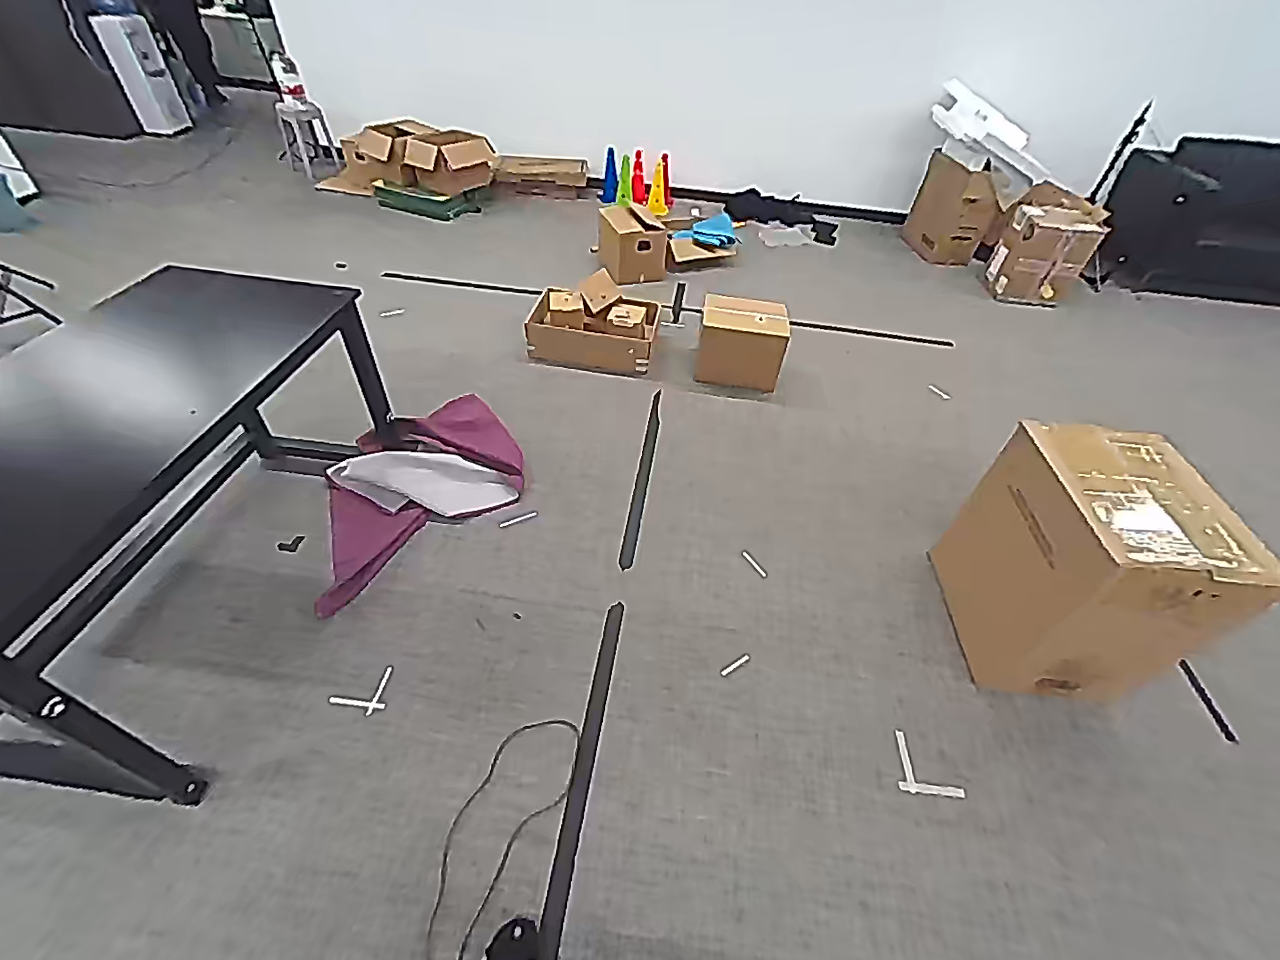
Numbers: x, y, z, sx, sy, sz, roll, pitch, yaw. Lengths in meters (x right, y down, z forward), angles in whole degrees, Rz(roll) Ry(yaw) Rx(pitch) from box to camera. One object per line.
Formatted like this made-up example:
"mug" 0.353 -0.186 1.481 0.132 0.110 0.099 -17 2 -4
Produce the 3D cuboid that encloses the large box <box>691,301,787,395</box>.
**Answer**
"large box" 0.475 -0.649 2.669 0.408 0.320 0.320 8 45 1
